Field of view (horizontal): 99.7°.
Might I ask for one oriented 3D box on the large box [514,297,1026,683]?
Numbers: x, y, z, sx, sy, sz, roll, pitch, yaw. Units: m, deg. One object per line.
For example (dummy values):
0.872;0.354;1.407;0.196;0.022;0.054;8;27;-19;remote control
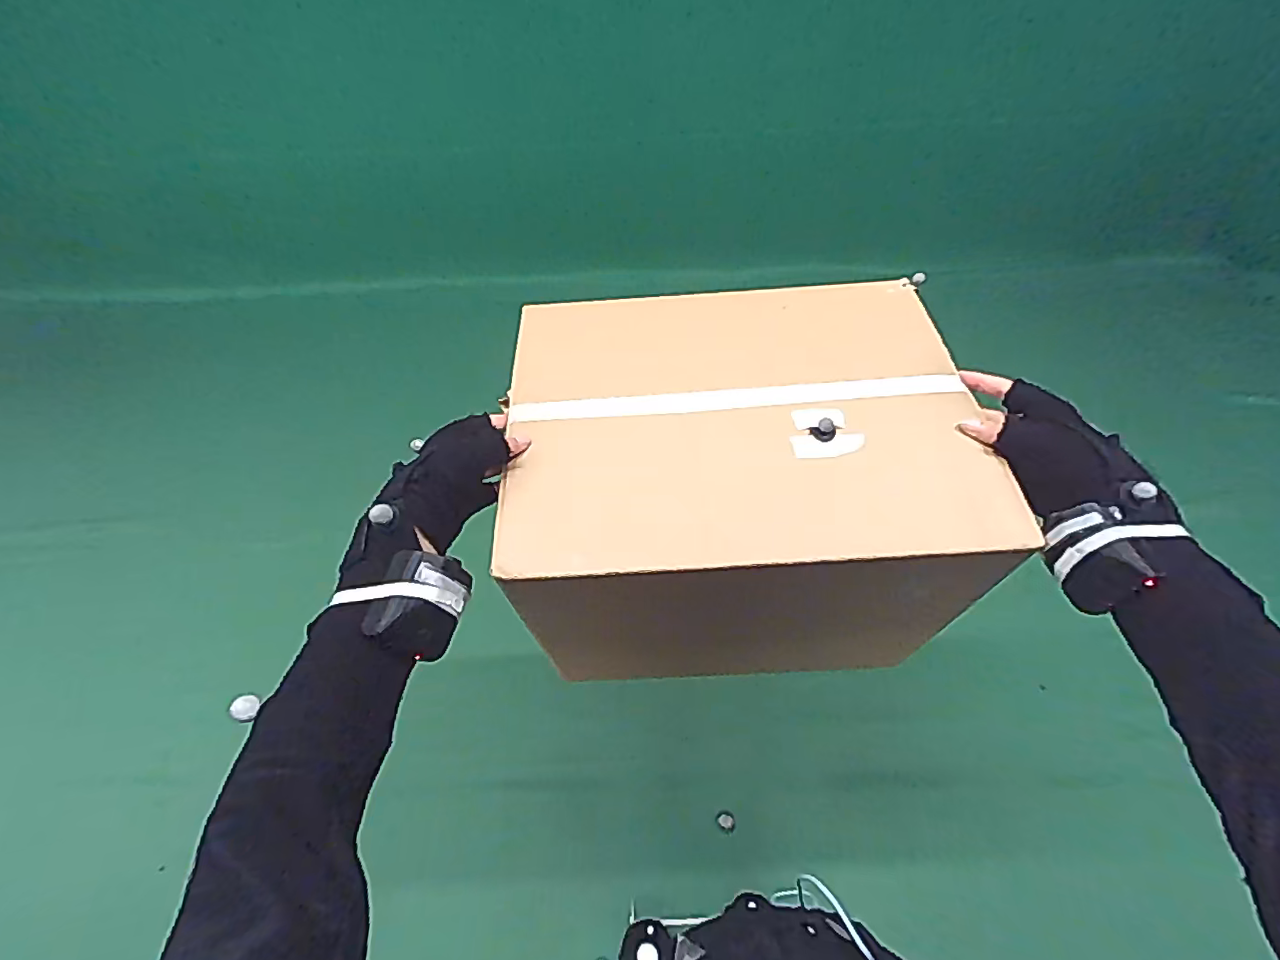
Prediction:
0.096;0.025;0.617;0.408;0.320;0.320;-3;56;1;large box
